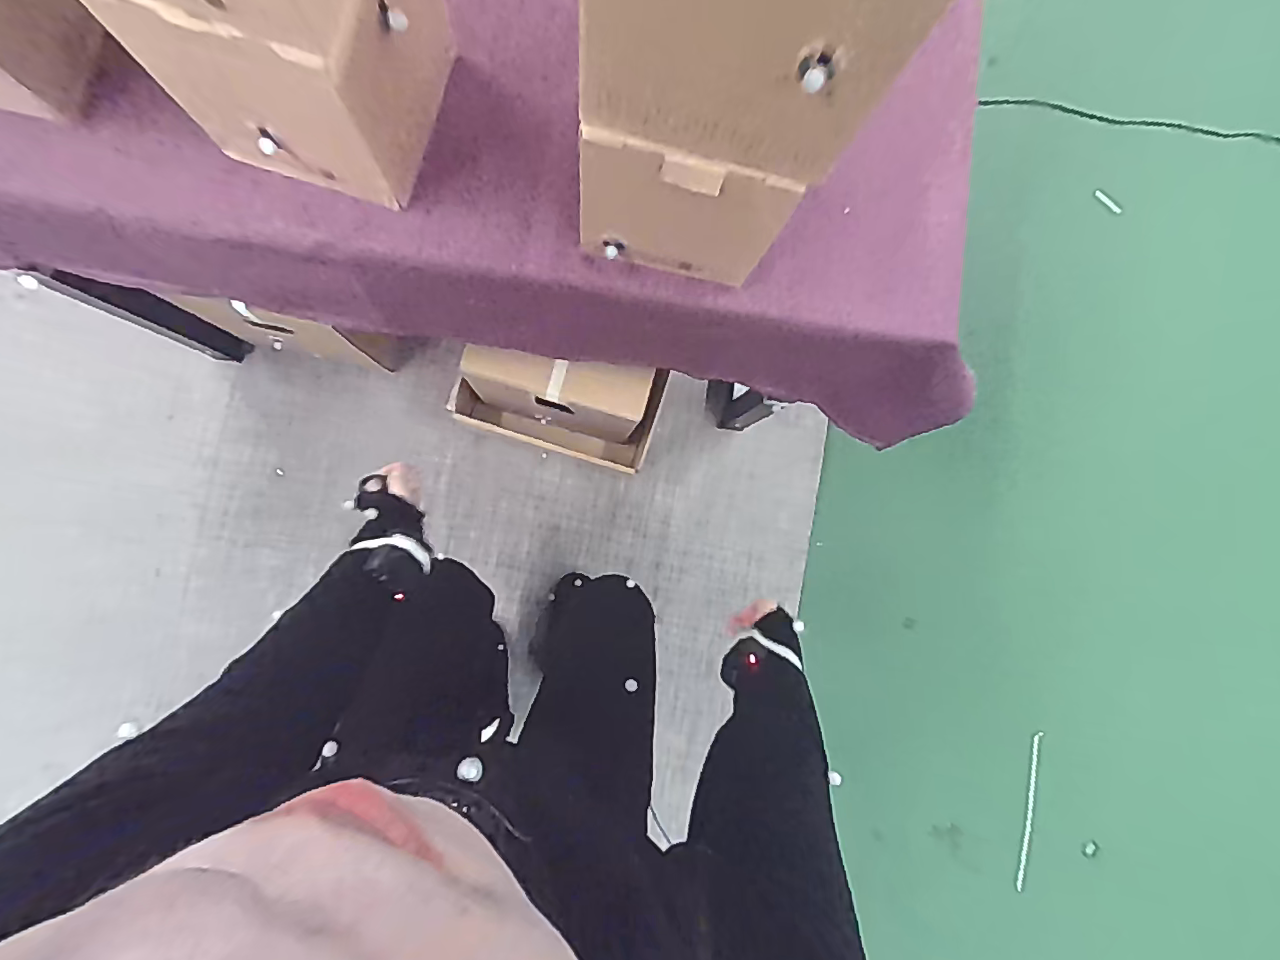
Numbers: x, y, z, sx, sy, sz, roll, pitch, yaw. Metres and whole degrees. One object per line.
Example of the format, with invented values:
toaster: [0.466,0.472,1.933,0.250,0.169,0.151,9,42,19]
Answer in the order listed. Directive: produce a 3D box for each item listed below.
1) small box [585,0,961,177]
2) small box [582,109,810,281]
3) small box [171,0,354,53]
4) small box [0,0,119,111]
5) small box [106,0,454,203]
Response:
small box: [0.071,-0.309,0.305,0.179,0.176,0.168,12,85,-5]
small box: [0.048,-0.298,0.467,0.168,0.176,0.179,11,85,-6]
small box: [-0.242,-0.384,0.273,0.168,0.176,0.179,17,86,-5]
small box: [-0.556,-0.420,0.402,0.179,0.176,0.168,11,87,-5]
small box: [-0.264,-0.369,0.436,0.168,0.176,0.179,16,86,-5]
